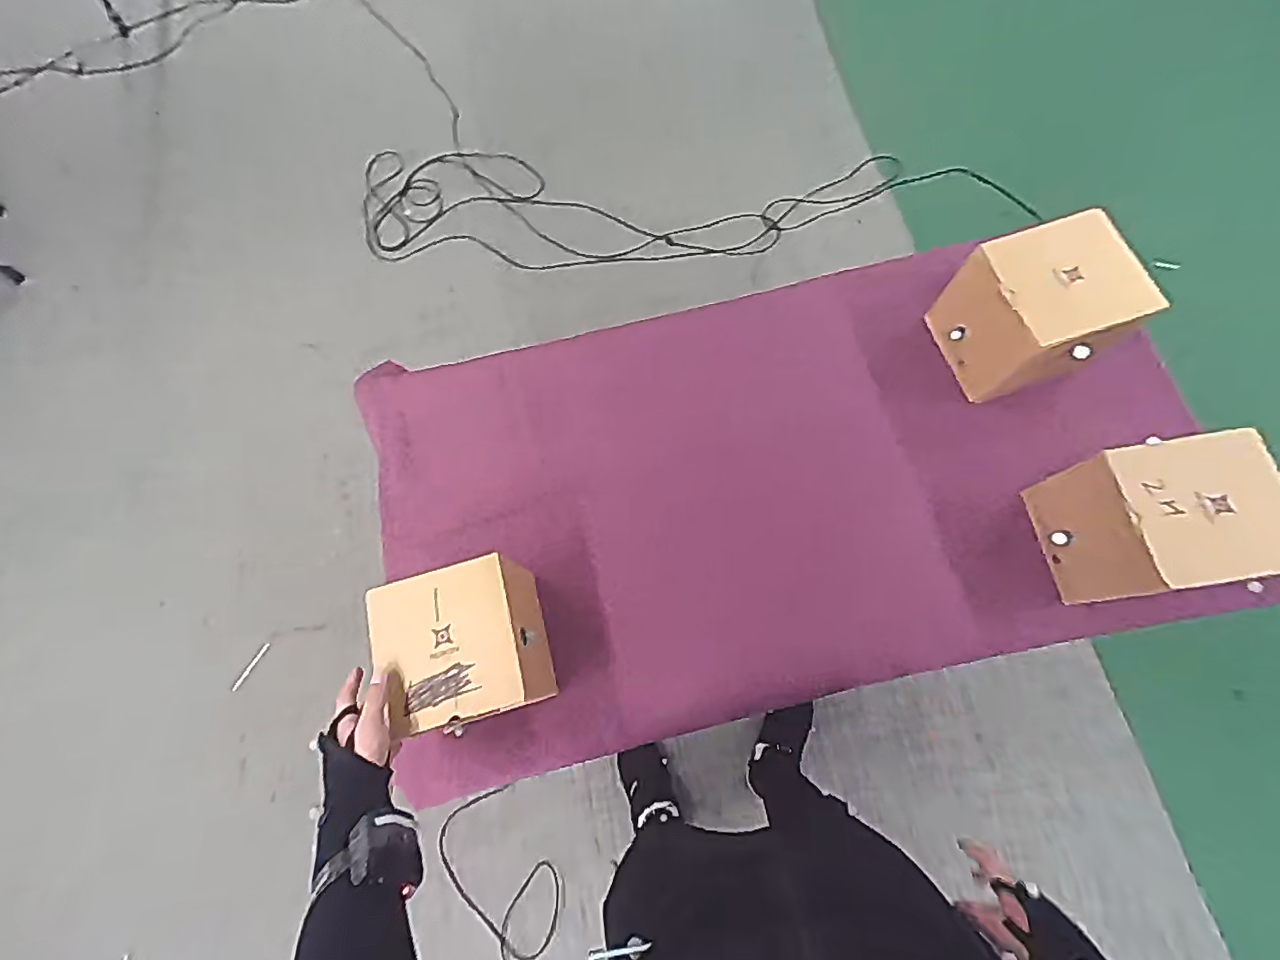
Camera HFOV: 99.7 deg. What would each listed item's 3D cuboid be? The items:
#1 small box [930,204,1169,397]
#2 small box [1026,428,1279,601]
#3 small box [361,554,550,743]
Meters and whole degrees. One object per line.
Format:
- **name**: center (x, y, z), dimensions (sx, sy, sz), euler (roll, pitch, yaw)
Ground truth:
- **small box**: center (0.555, -0.242, 0.764), dimensions (0.179, 0.176, 0.168), euler (-18, 74, 0)
- **small box**: center (0.635, 0.052, 0.668), dimensions (0.179, 0.176, 0.168), euler (-9, 72, 3)
- **small box**: center (-0.223, 0.210, 0.689), dimensions (0.168, 0.176, 0.179), euler (-16, 71, -1)
